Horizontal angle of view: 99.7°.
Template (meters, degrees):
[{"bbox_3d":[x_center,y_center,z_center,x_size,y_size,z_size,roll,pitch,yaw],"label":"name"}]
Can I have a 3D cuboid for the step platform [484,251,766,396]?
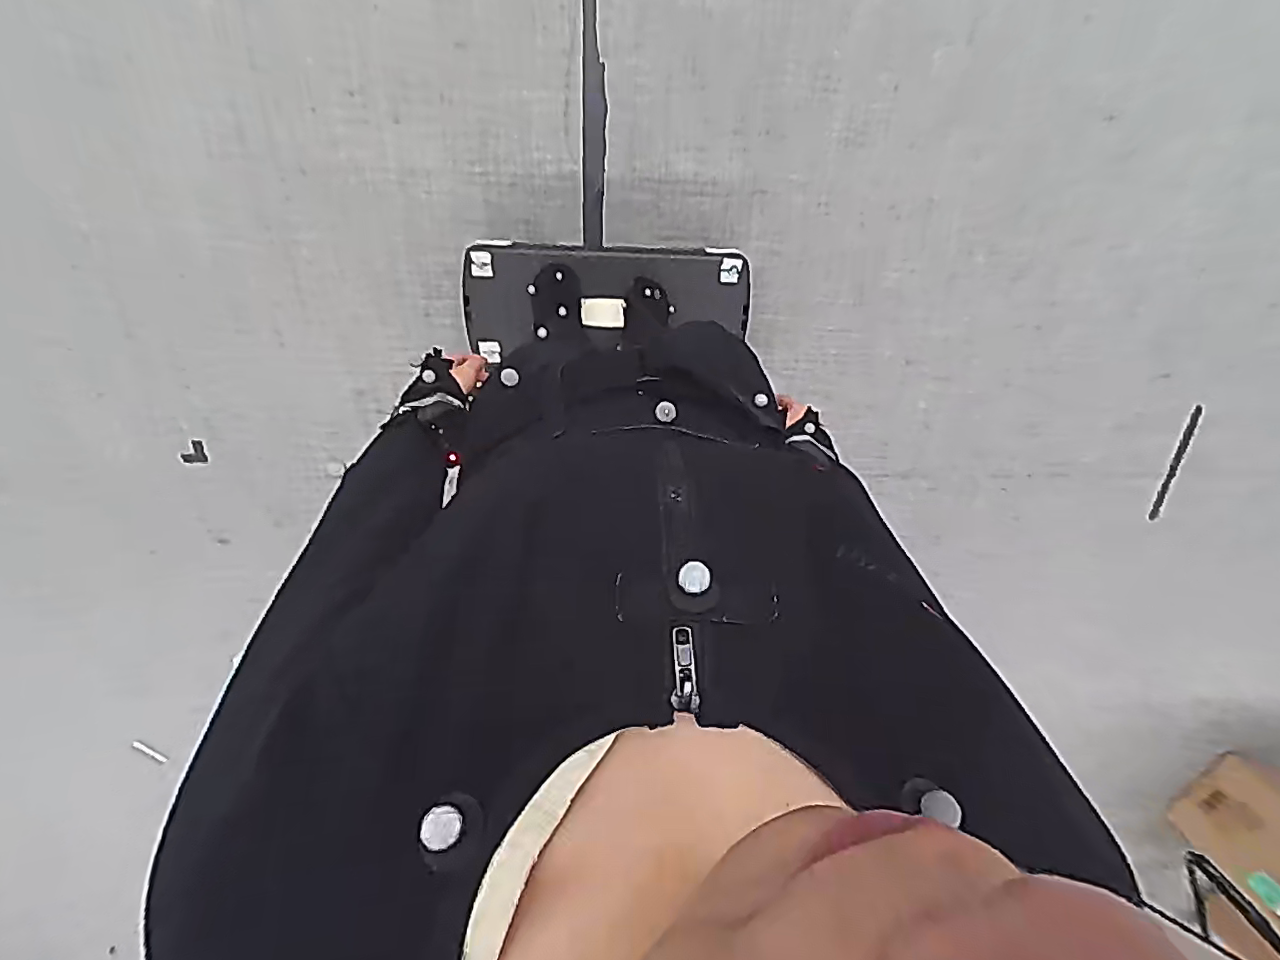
[{"bbox_3d":[-0.037,-0.389,1.356,0.684,0.204,0.286,4,112,-6],"label":"step platform"}]
